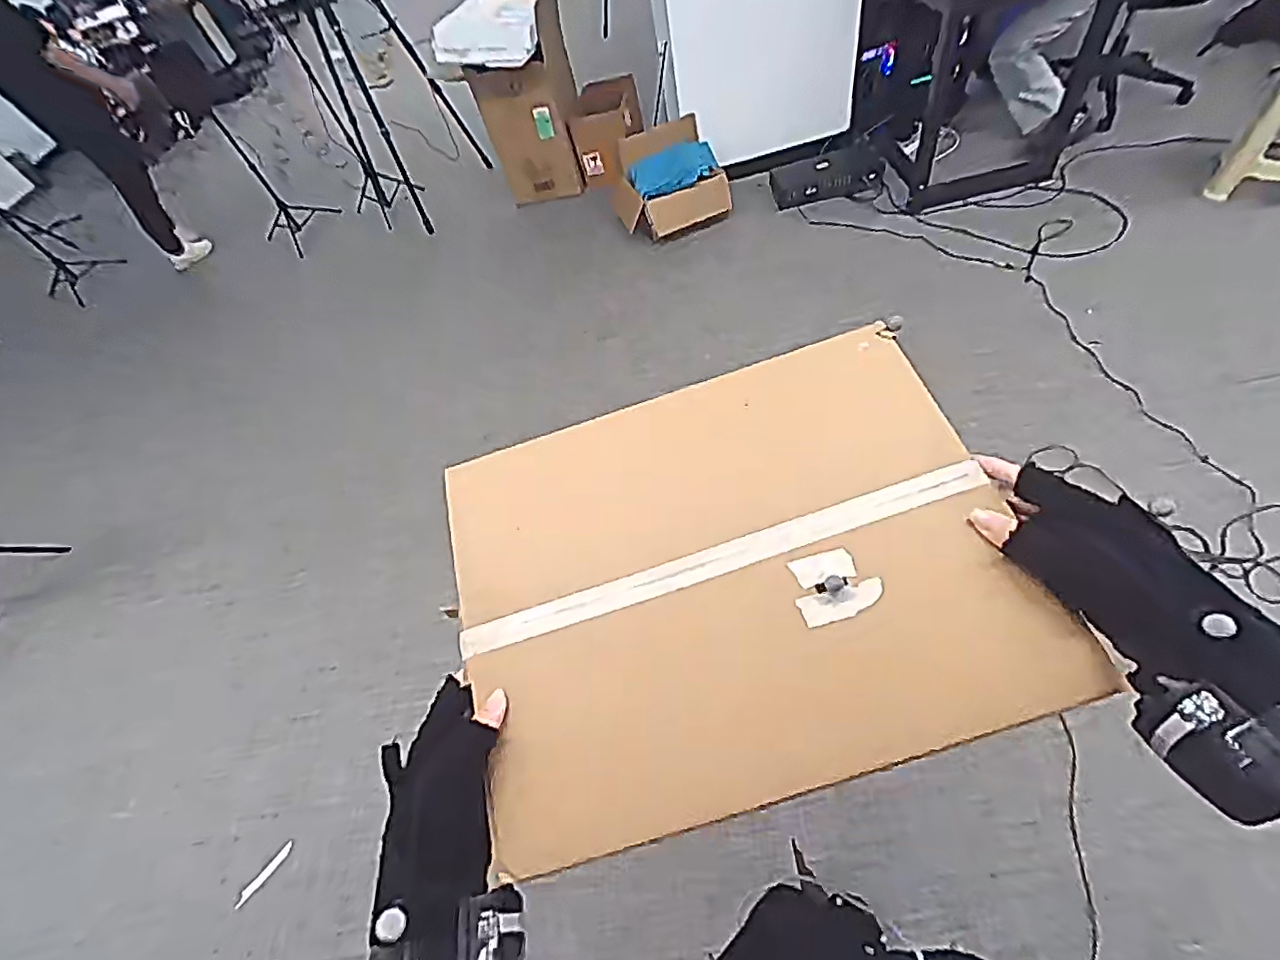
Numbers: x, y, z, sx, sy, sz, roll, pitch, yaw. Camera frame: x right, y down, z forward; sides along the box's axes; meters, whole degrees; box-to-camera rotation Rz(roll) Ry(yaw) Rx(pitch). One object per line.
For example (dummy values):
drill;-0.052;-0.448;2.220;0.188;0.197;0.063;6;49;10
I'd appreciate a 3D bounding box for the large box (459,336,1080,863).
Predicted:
large box;0.086;0.126;0.556;0.408;0.320;0.320;-19;64;1
